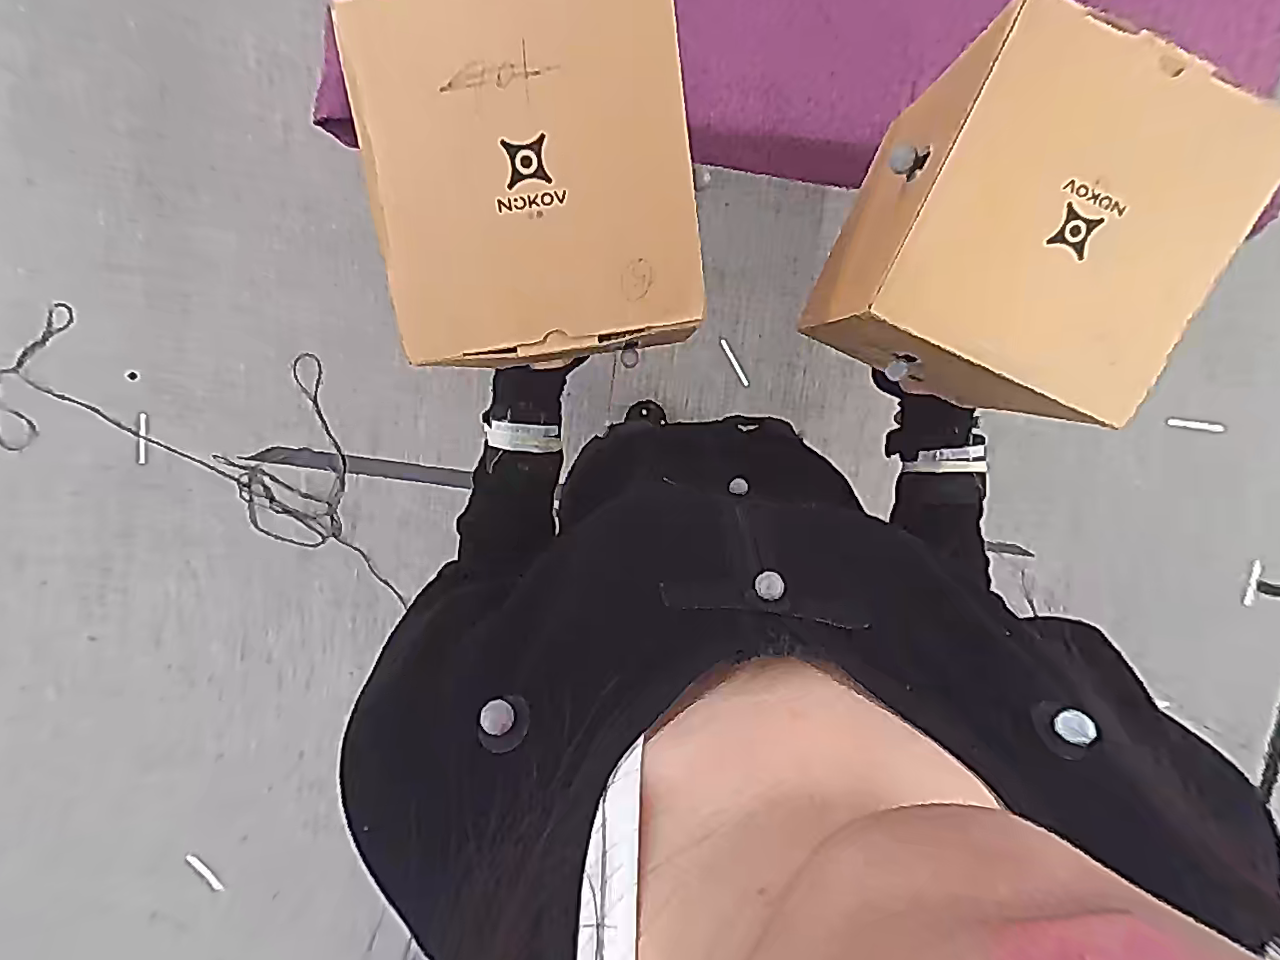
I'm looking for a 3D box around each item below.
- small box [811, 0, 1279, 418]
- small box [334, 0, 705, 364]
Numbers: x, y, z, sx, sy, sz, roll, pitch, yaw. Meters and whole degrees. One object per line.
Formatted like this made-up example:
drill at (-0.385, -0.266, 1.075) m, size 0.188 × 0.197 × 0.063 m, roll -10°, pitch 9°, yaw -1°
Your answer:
small box at (0.237, -0.159, 0.368) m, size 0.168 × 0.176 × 0.179 m, roll 23°, pitch 101°, yaw -3°
small box at (-0.055, -0.174, 0.353) m, size 0.168 × 0.176 × 0.179 m, roll -9°, pitch 101°, yaw 2°
